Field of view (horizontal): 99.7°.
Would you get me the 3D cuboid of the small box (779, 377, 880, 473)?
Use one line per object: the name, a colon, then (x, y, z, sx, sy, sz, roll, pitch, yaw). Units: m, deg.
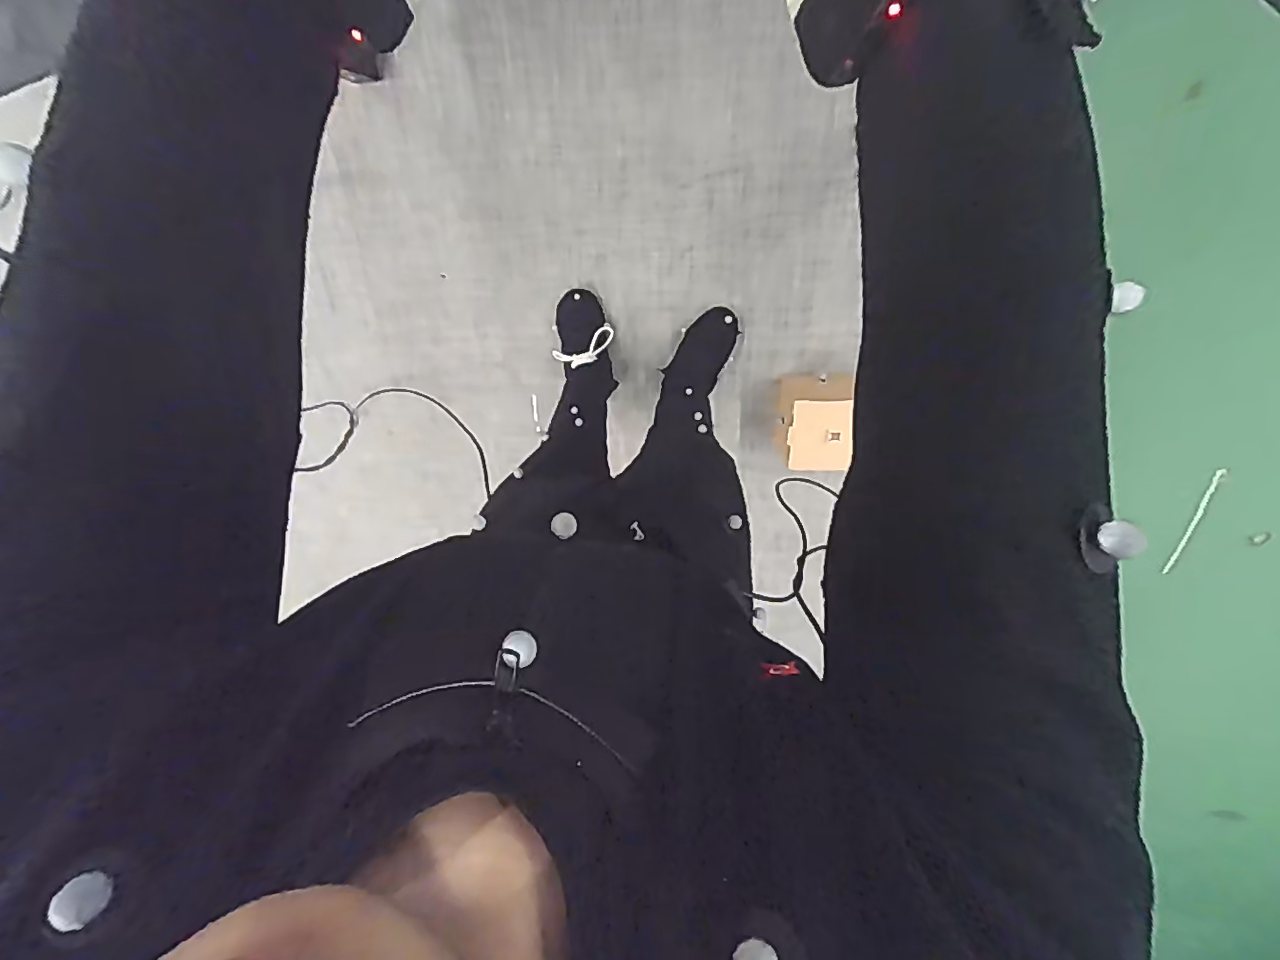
small box: (0.414, -0.128, 1.216, 0.179, 0.176, 0.168, 1, 119, 6)
